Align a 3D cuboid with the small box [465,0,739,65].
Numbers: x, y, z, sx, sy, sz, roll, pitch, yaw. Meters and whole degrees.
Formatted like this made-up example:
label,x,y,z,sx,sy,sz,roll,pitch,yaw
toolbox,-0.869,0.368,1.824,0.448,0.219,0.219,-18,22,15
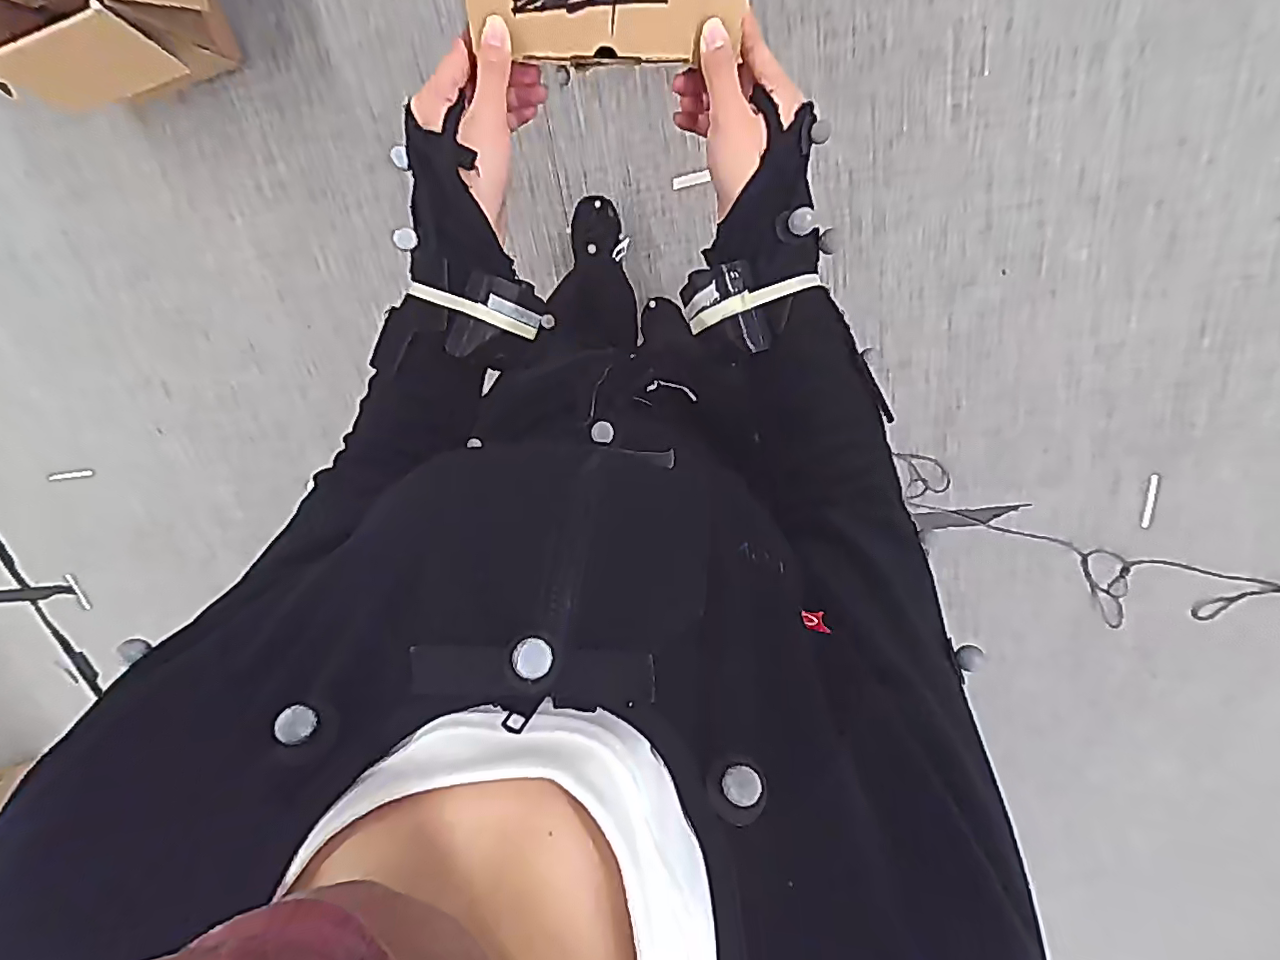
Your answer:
label,x,y,z,sx,sy,sz,roll,pitch,yaw
small box,-0.016,-0.377,0.344,0.168,0.176,0.179,3,126,2
